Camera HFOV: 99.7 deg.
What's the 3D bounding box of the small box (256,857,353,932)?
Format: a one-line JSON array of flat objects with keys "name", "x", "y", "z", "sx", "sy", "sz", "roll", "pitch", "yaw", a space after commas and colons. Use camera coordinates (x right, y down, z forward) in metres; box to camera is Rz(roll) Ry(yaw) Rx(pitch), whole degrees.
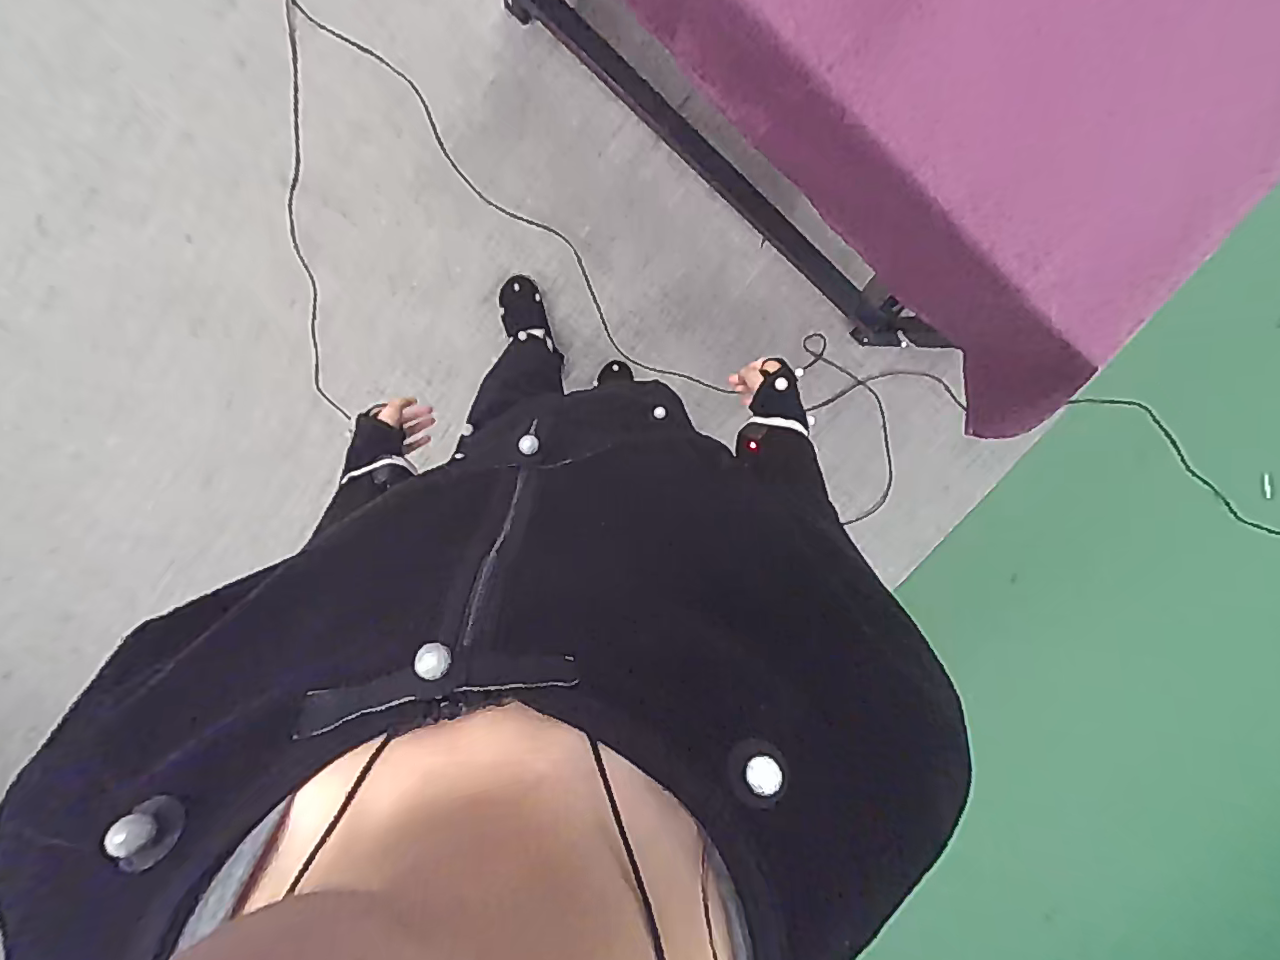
[{"name": "small box", "x": -1.064, "y": 1.353, "z": 1.722, "sx": 0.179, "sy": 0.176, "sz": 0.168, "roll": 34, "pitch": 100, "yaw": -12}]
